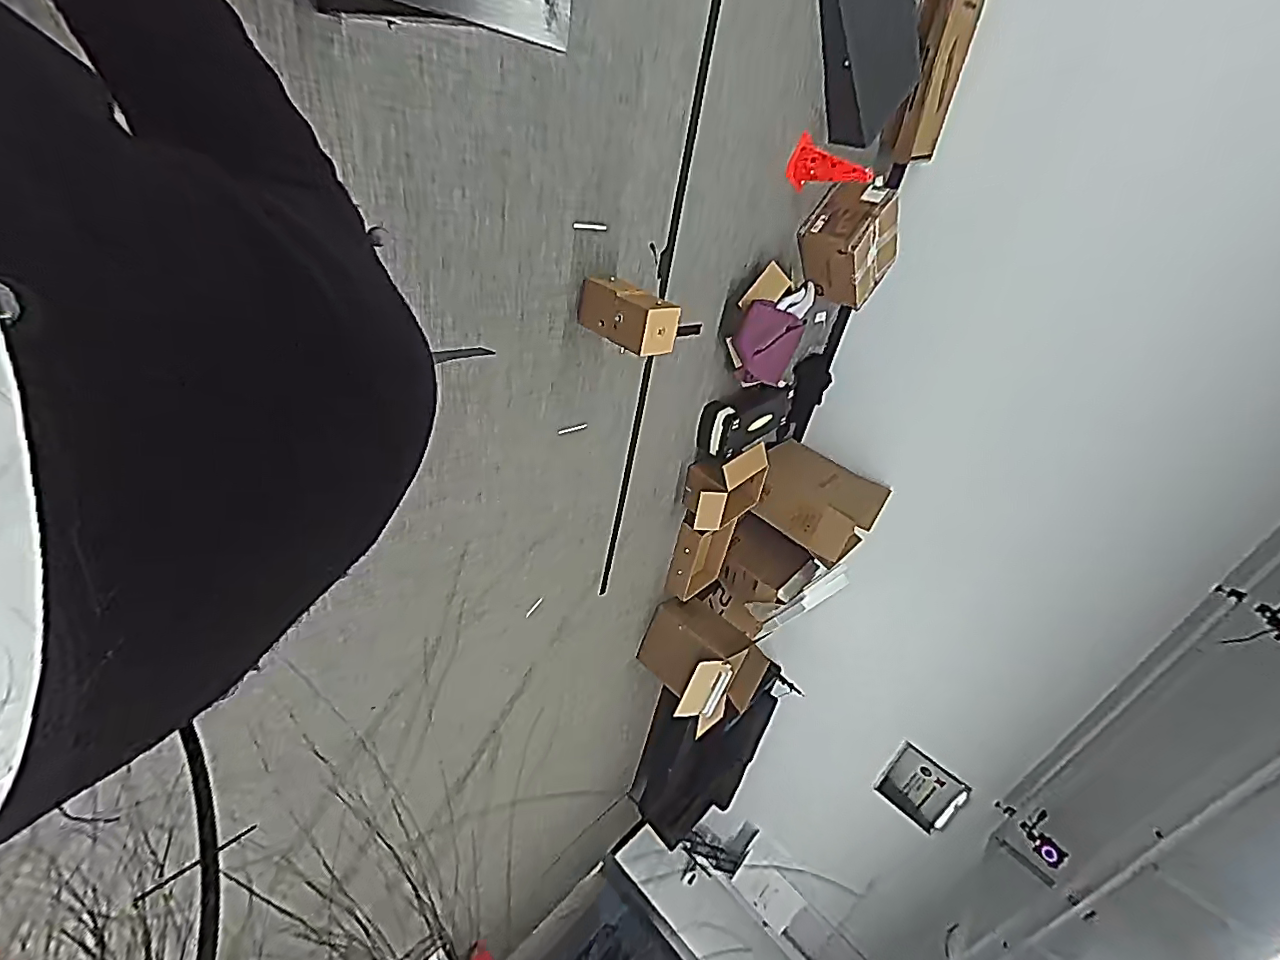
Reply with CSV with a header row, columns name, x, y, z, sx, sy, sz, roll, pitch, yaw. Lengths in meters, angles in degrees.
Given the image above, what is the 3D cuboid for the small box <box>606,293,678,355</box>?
name,x,y,z,sx,sy,sz,roll,pitch,yaw
small box,0.005,-0.561,1.923,0.179,0.176,0.168,-21,133,-42

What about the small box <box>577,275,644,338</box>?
name,x,y,z,sx,sy,sz,roll,pitch,yaw
small box,-0.113,-0.643,2.000,0.168,0.176,0.179,-21,134,-44
